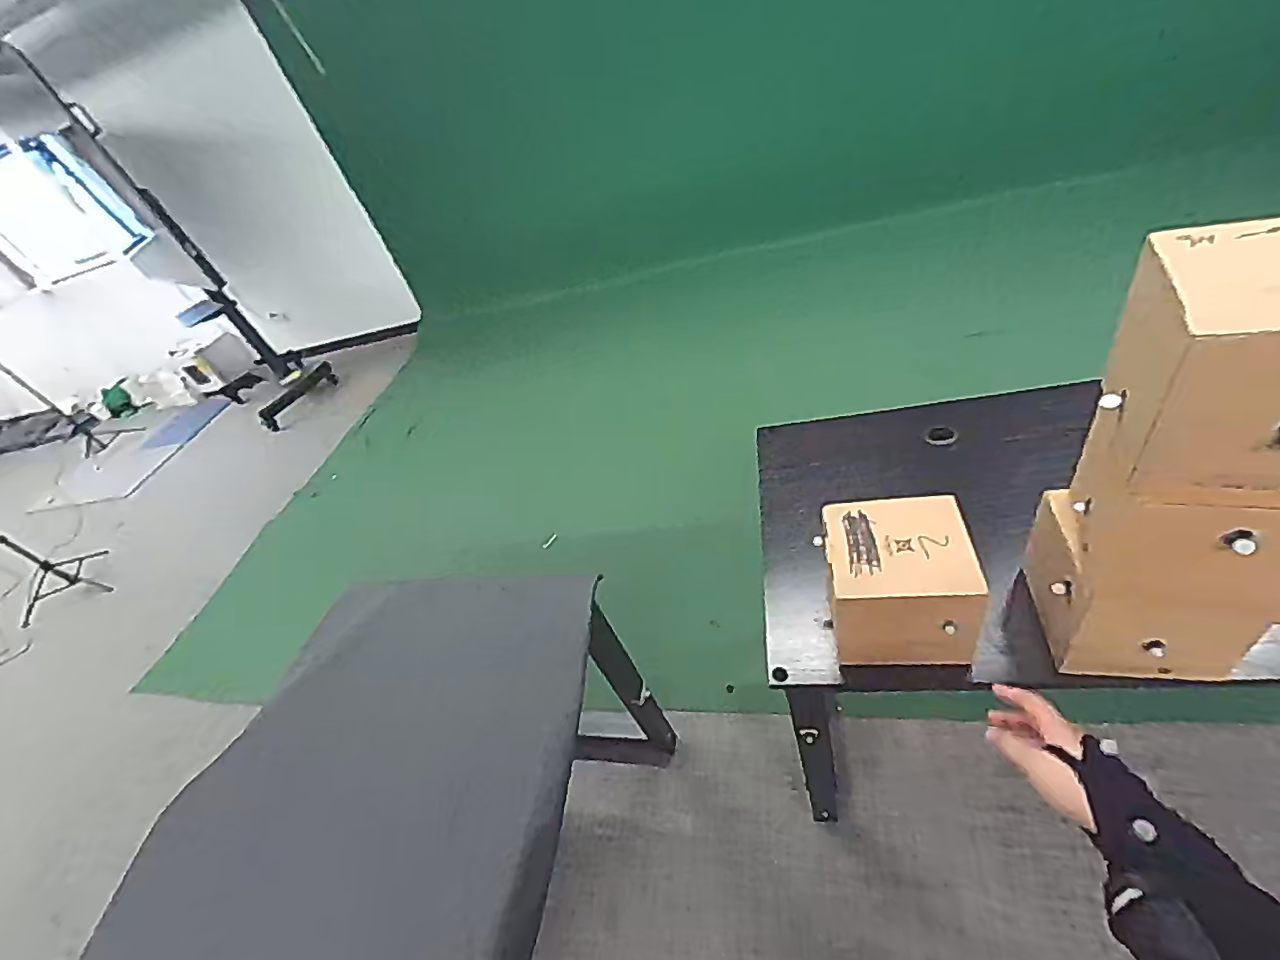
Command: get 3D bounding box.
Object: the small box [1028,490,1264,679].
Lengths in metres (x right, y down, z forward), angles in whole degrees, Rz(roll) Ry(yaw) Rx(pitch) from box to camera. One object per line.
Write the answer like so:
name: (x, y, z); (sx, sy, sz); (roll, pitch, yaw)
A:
small box: (0.612, 0.127, 0.671); (0.168, 0.176, 0.179); (-3, 44, 19)

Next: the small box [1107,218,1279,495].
small box: (0.525, -0.100, 0.454); (0.168, 0.176, 0.179); (4, 48, 28)

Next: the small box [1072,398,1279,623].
small box: (0.576, 0.026, 0.547); (0.179, 0.176, 0.168); (2, 46, 26)
